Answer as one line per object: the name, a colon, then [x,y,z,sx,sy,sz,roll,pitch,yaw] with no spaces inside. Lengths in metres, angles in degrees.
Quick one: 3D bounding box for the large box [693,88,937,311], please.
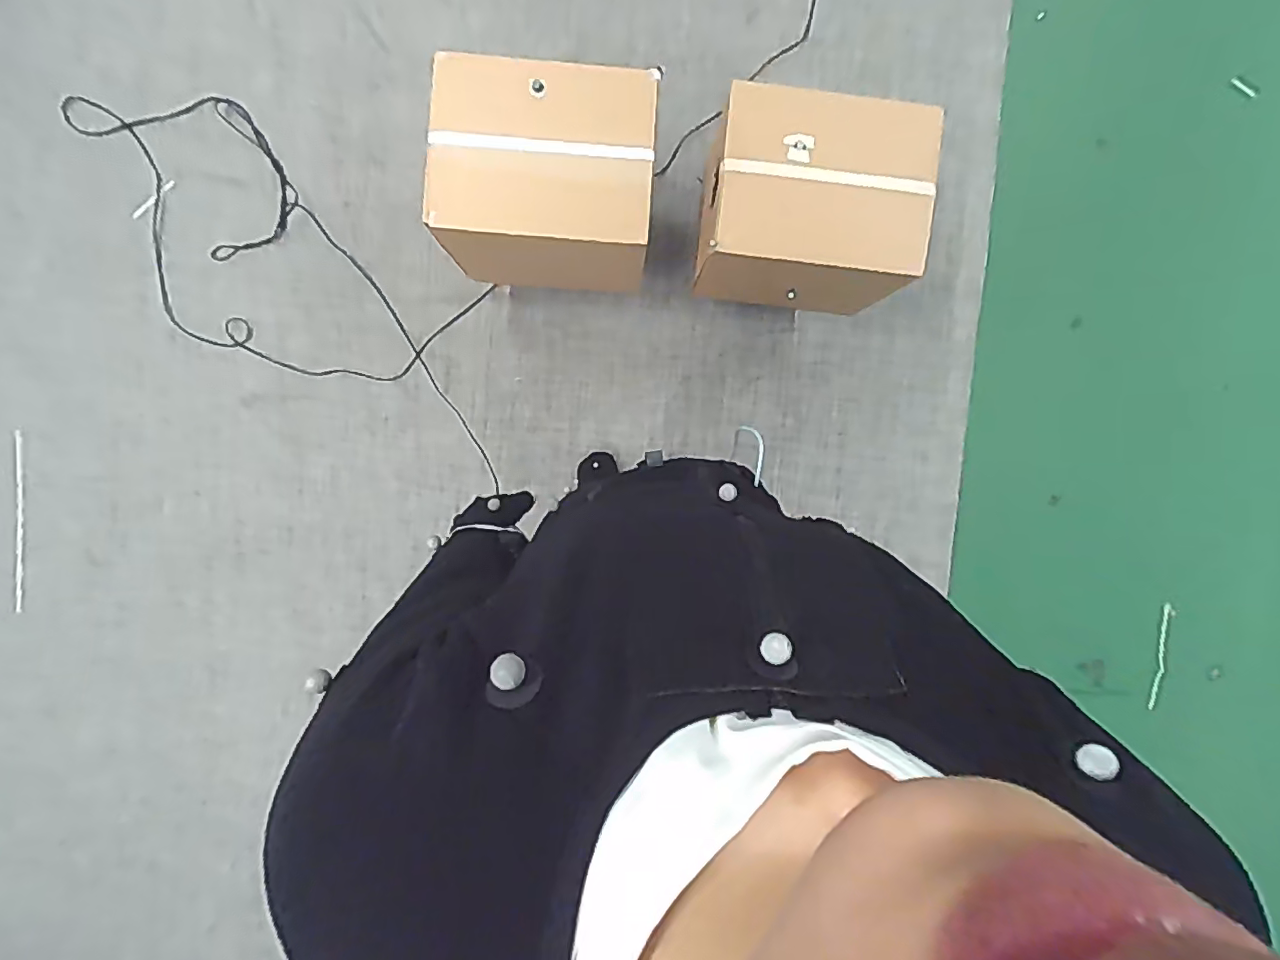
large box: [0.347,-0.570,1.168,0.408,0.320,0.320,6,92,-2]
